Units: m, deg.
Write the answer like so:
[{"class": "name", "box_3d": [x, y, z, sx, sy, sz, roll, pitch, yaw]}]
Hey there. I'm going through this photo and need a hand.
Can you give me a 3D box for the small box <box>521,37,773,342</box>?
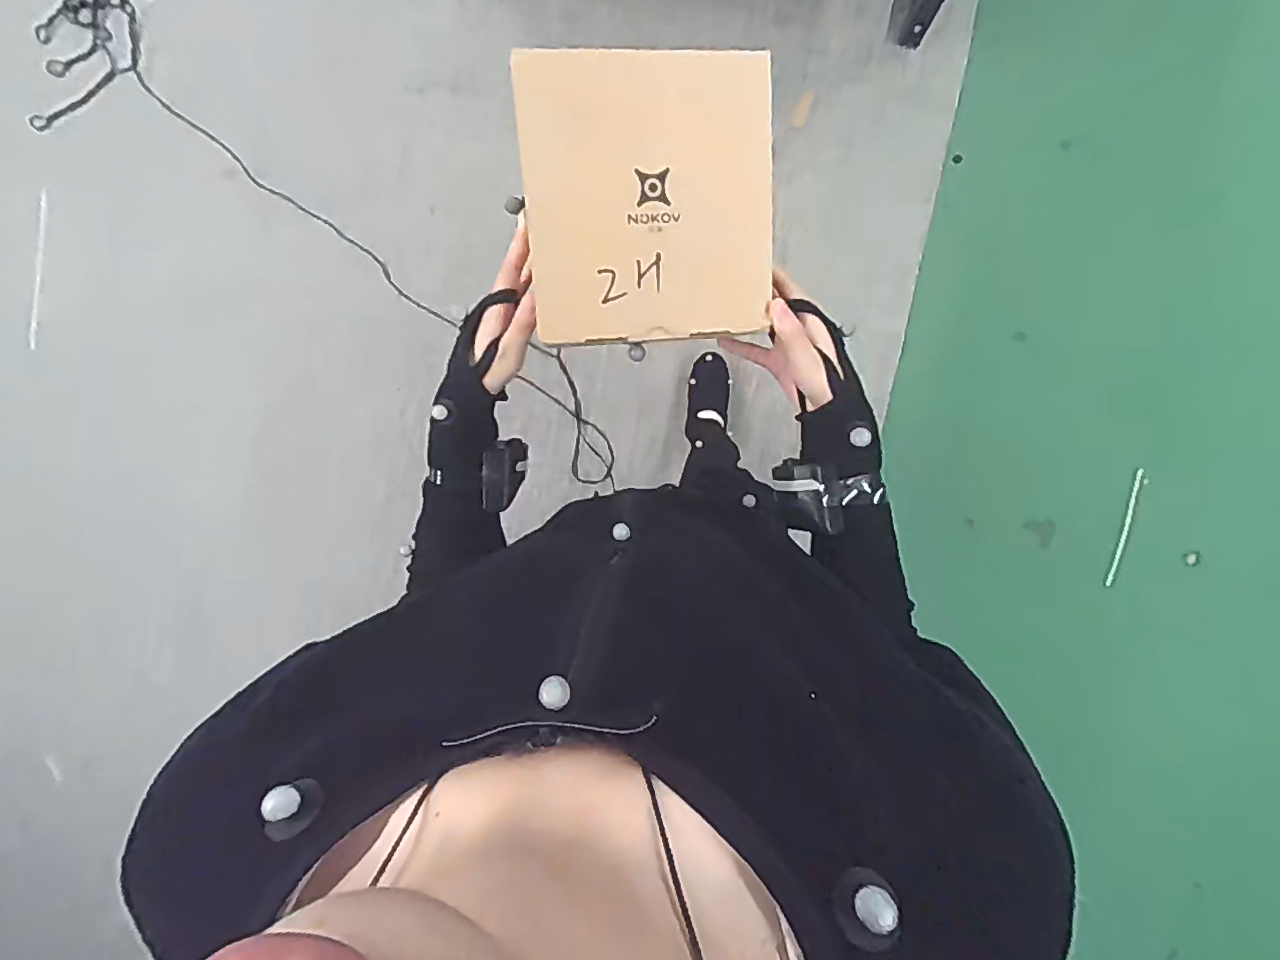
[{"class": "small box", "box_3d": [-0.003, -0.207, 0.434, 0.168, 0.176, 0.179, -5, 103, -7]}]
